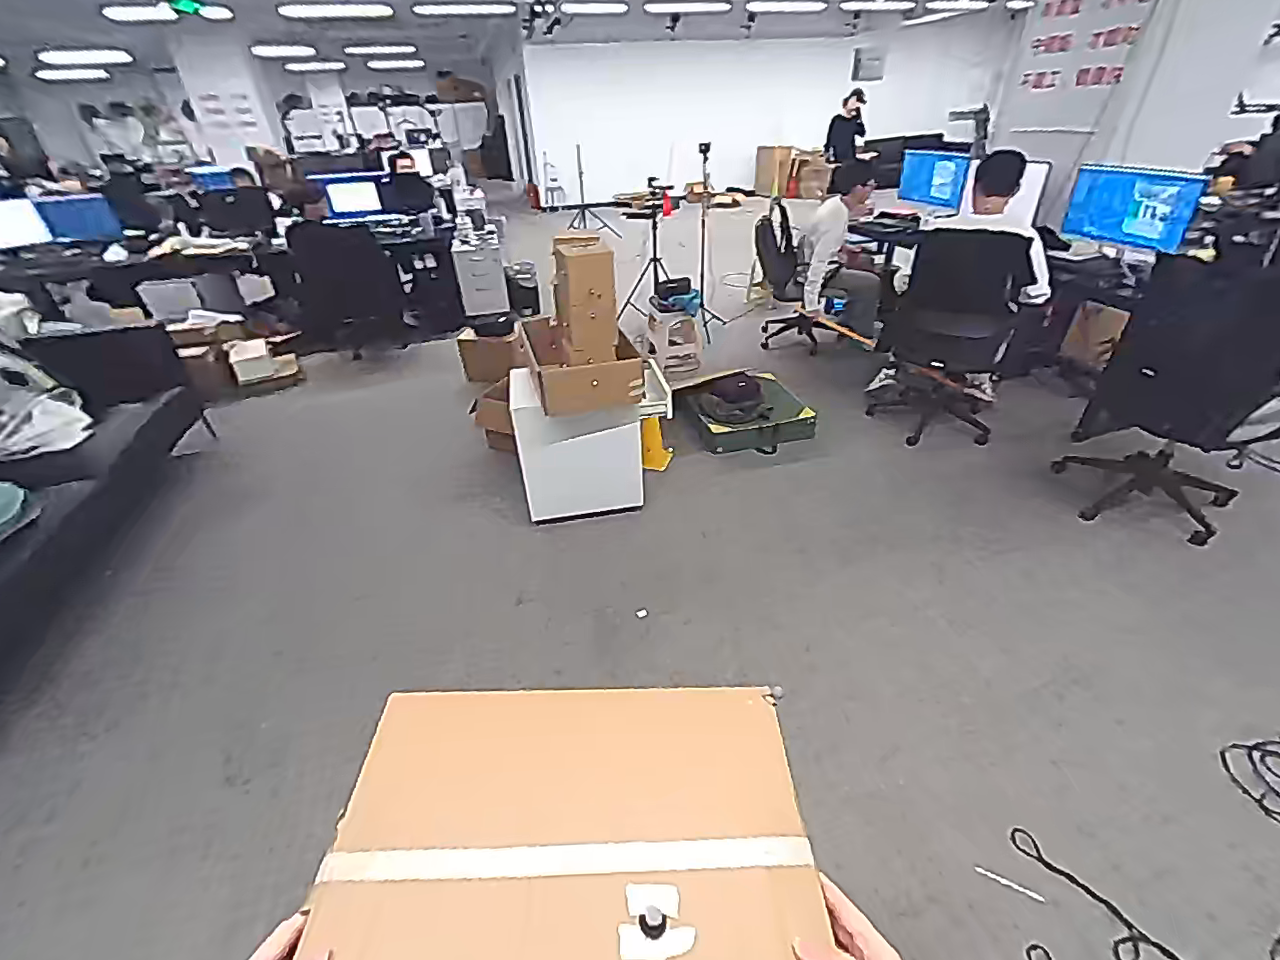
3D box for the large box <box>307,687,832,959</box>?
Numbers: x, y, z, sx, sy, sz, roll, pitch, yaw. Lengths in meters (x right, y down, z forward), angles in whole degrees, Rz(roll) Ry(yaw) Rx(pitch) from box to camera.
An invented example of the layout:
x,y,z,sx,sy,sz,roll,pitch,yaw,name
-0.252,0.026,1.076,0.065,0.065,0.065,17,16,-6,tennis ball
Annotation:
x,y,z,sx,sy,sz,roll,pitch,yaw,name
-0.061,0.440,0.553,0.408,0.320,0.320,1,38,-3,large box
